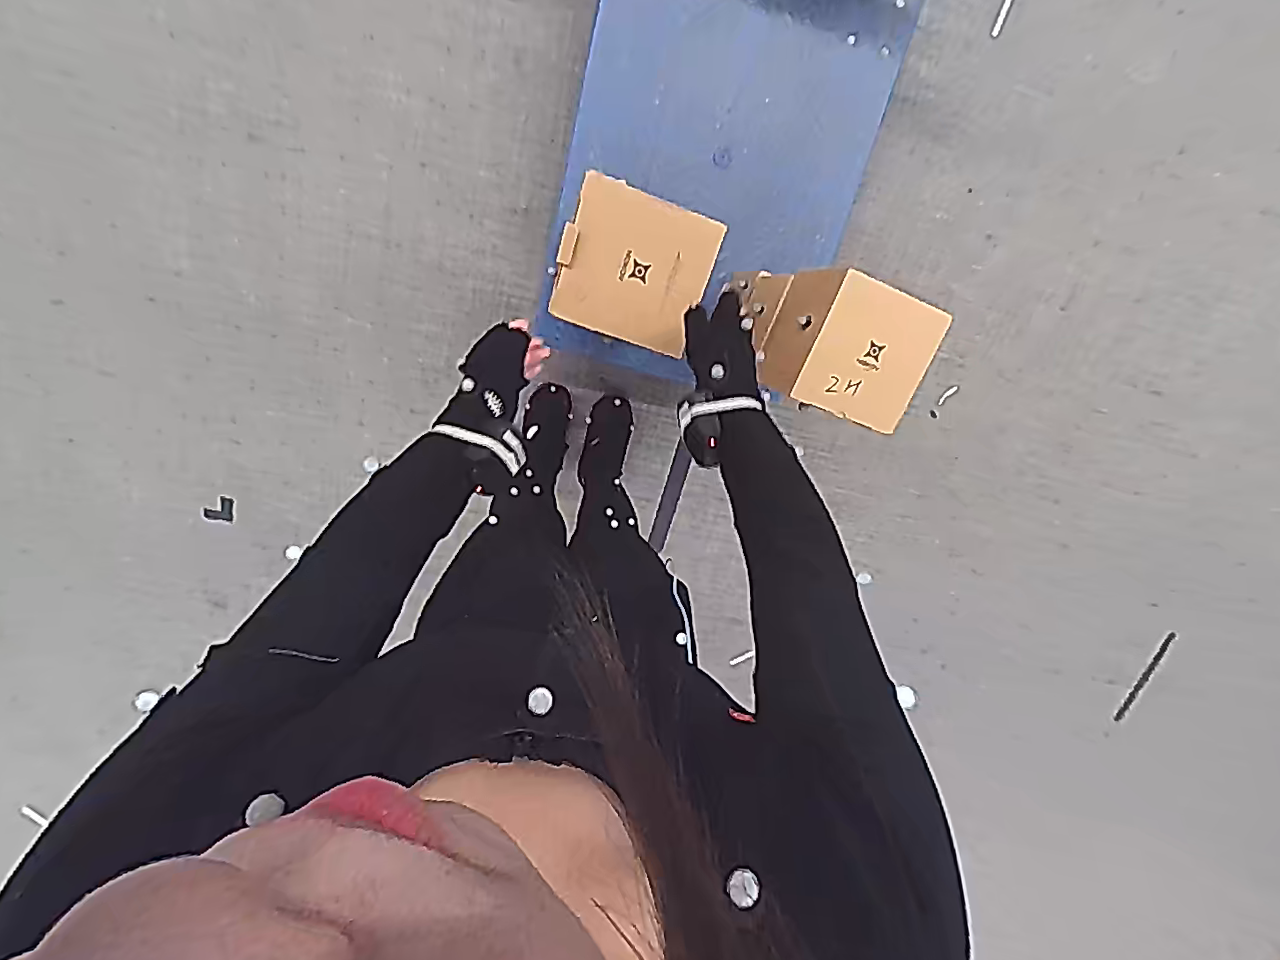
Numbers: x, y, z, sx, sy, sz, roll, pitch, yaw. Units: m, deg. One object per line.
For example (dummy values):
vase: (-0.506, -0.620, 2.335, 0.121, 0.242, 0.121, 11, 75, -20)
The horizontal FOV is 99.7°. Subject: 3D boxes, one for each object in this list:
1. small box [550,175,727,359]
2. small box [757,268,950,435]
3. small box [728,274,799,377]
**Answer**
small box: (-0.012, -0.277, 0.723, 0.179, 0.176, 0.168, 16, 109, -13)
small box: (0.293, -0.190, 0.788, 0.168, 0.176, 0.179, 19, 107, -13)
small box: (0.274, -0.244, 0.943, 0.179, 0.176, 0.168, 17, 107, -13)
